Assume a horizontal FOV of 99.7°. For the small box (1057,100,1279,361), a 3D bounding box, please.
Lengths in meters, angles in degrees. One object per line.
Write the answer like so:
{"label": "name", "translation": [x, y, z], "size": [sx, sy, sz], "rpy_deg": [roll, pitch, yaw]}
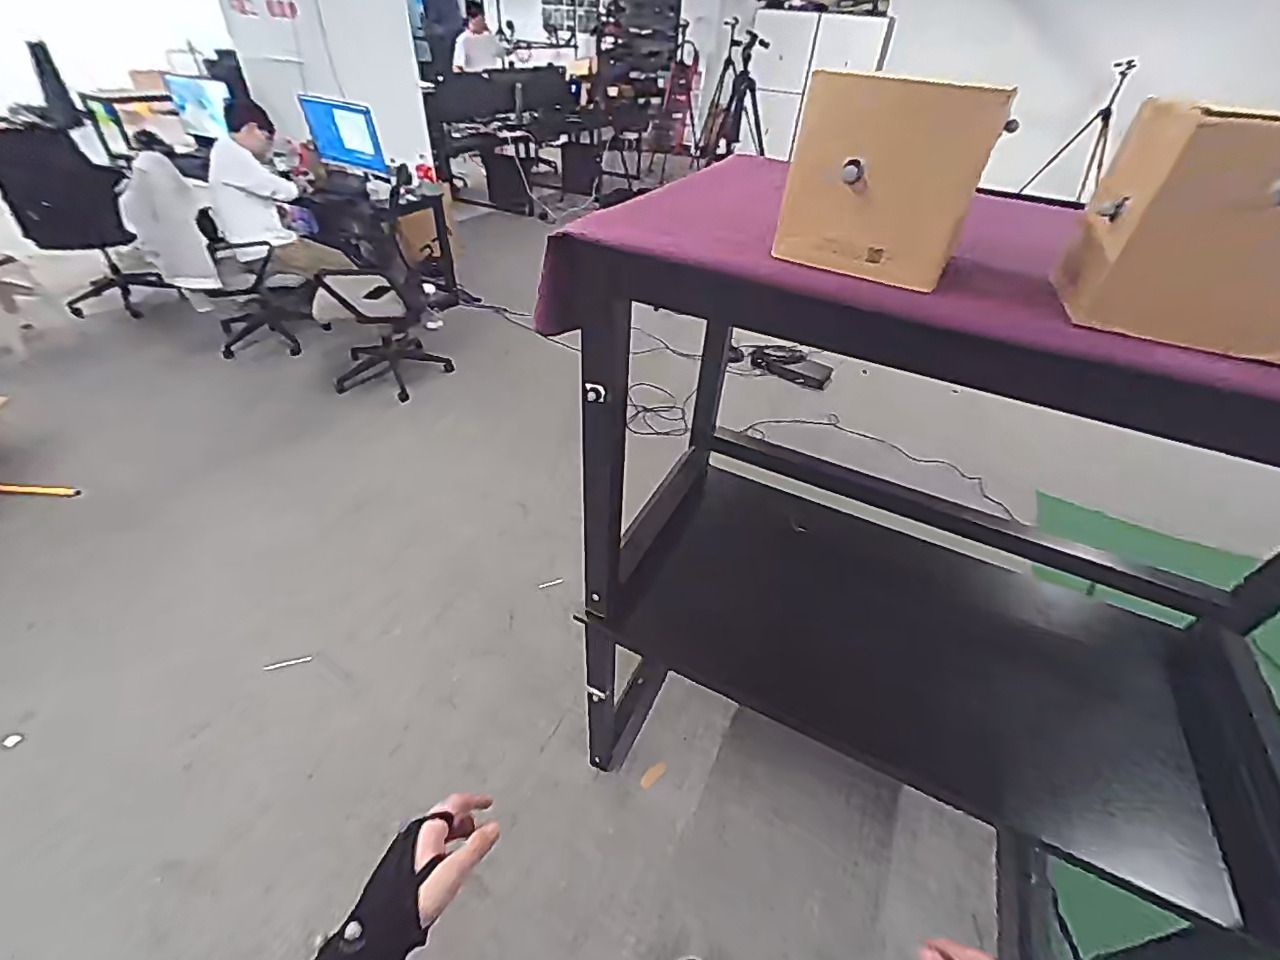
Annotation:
{"label": "small box", "translation": [0.505, -0.222, 0.475], "size": [0.179, 0.176, 0.168], "rpy_deg": [19, 42, 17]}

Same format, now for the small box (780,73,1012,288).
{"label": "small box", "translation": [0.259, -0.316, 0.567], "size": [0.168, 0.176, 0.179], "rpy_deg": [22, 42, 21]}
